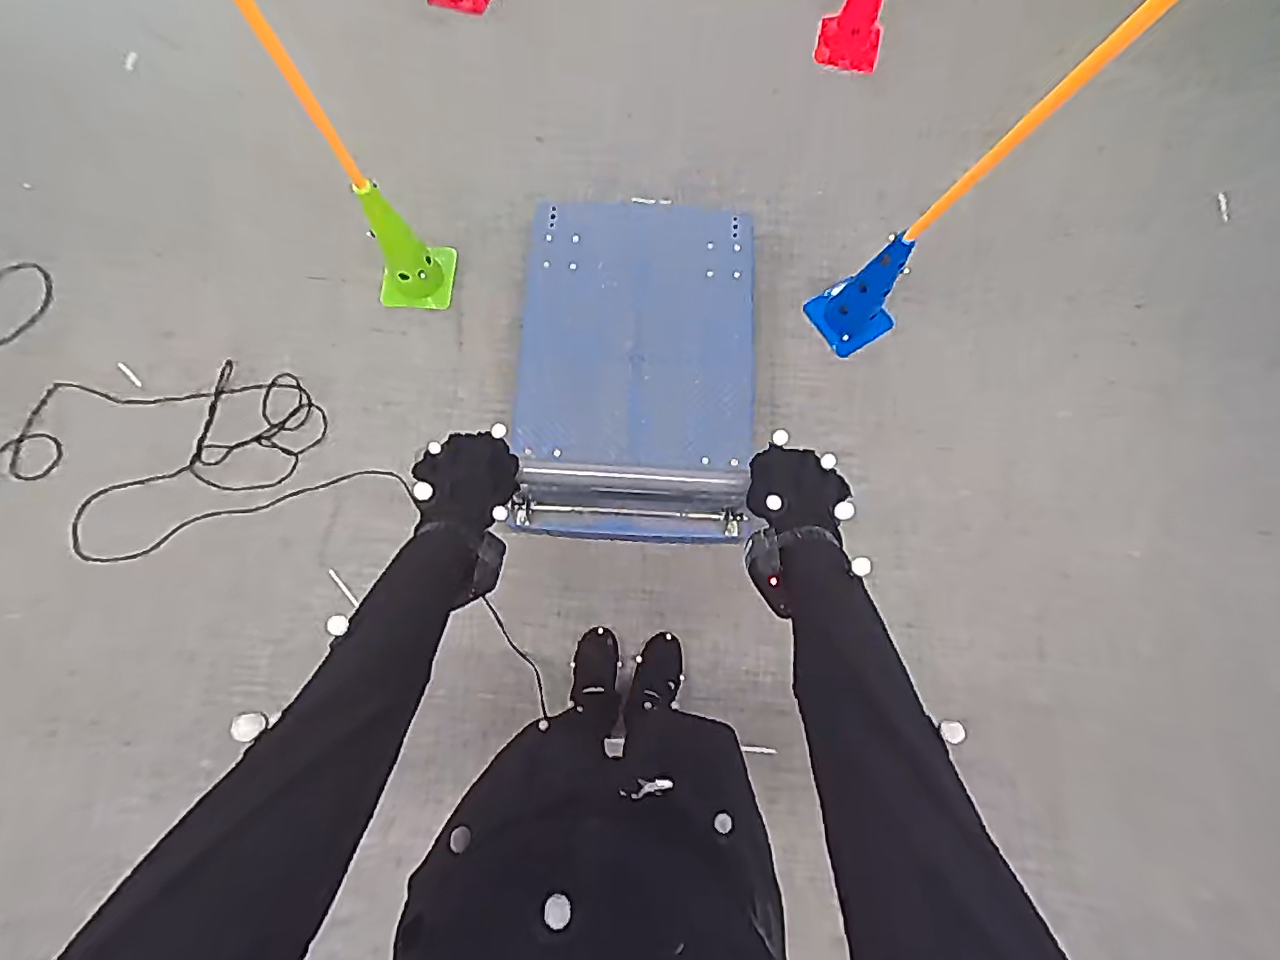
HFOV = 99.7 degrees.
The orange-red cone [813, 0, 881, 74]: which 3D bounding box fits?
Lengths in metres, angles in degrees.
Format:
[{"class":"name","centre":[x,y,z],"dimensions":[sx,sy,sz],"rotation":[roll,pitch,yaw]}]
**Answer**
[{"class":"orange-red cone","centre":[0.677,-1.456,1.603],"dimensions":[0.198,0.360,0.199],"rotation":[15,78,4]}]
